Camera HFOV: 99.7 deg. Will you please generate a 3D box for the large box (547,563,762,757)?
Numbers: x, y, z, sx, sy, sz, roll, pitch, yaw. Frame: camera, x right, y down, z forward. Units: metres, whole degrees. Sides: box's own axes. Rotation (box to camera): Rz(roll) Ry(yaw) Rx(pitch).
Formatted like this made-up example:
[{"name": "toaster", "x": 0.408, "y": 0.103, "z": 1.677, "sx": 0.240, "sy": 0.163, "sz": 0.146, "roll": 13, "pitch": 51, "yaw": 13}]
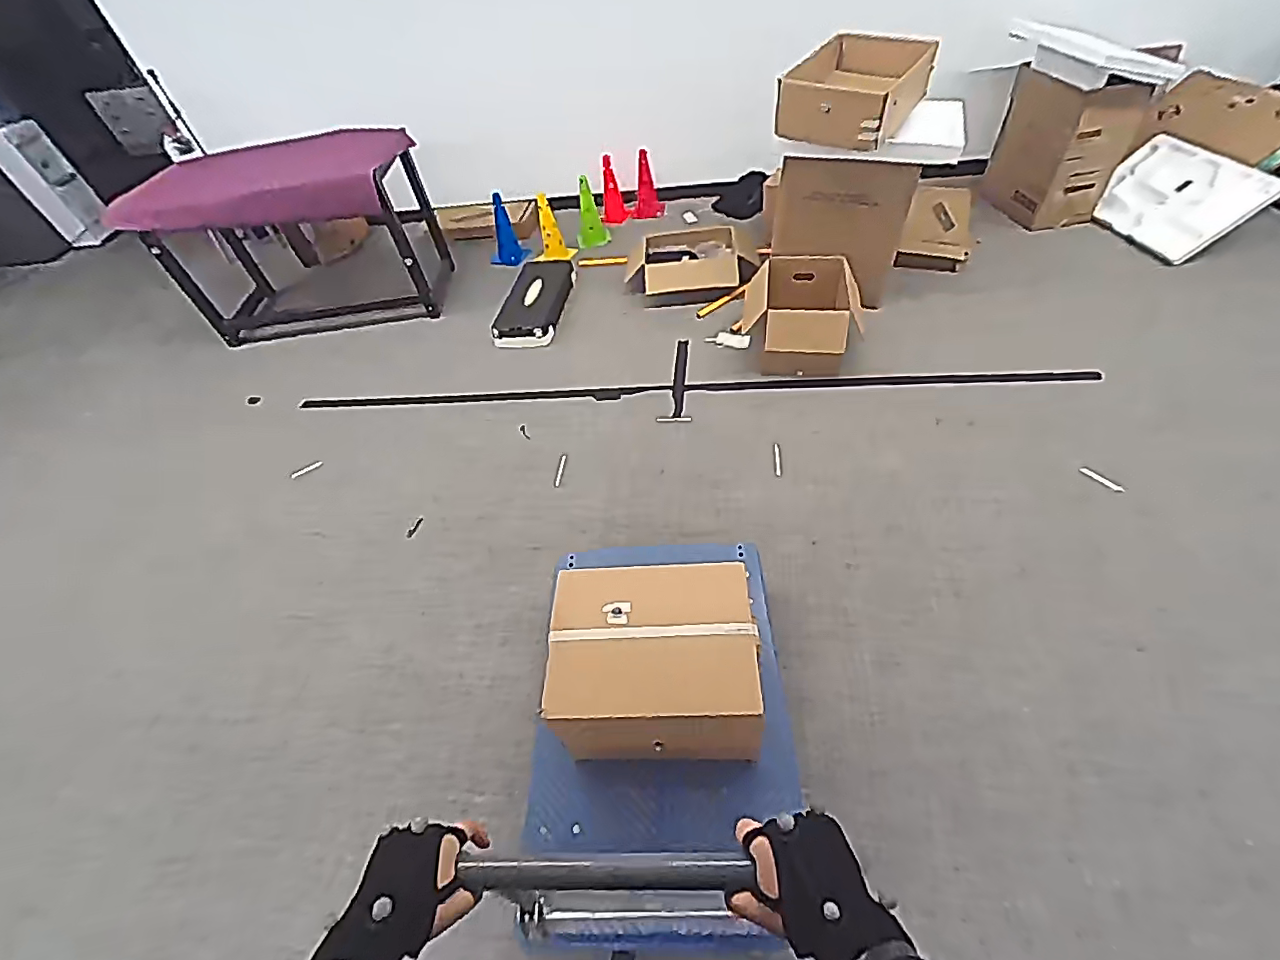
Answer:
[{"name": "large box", "x": 0.042, "y": 0.408, "z": 1.198, "sx": 0.408, "sy": 0.320, "sz": 0.320, "roll": -5, "pitch": 49, "yaw": 6}]
